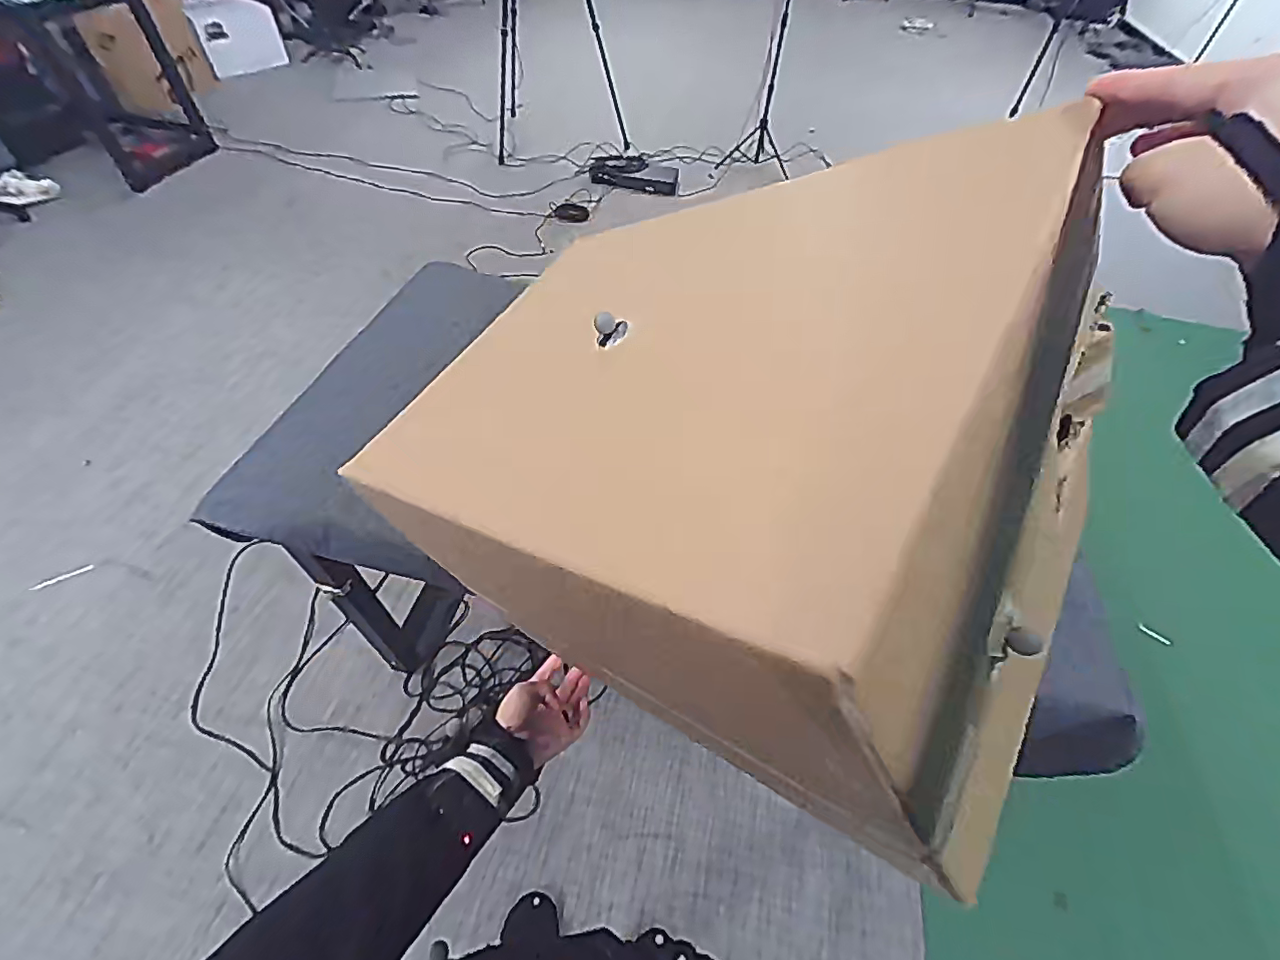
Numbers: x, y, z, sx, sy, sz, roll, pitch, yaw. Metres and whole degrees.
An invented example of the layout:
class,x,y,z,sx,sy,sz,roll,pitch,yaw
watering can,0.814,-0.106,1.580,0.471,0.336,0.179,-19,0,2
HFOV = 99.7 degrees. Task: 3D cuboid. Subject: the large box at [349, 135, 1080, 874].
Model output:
class,x,y,z,sx,sy,sz,roll,pitch,yaw
large box,0.063,0.014,0.426,0.408,0.320,0.320,10,56,43
